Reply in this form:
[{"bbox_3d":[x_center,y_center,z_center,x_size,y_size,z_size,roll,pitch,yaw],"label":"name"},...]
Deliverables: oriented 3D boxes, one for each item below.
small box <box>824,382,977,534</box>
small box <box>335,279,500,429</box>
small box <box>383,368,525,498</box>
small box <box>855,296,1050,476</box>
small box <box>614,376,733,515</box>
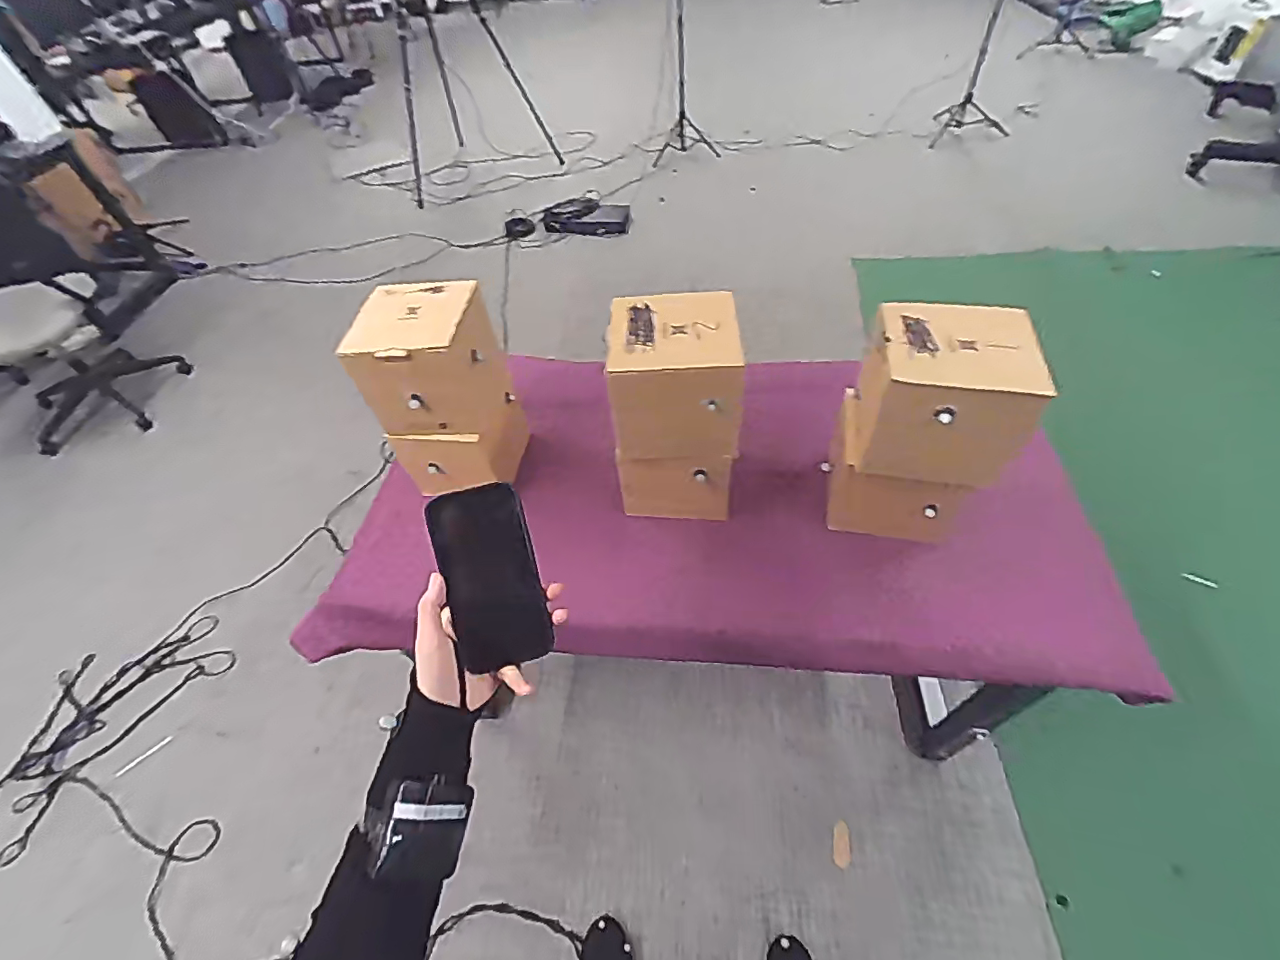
[{"bbox_3d":[0.398,-0.031,0.852,0.179,0.176,0.168,7,52,13],"label":"small box"},{"bbox_3d":[-0.336,-0.193,0.858,0.168,0.176,0.179,-1,52,5],"label":"small box"},{"bbox_3d":[-0.321,-0.083,0.979,0.168,0.176,0.179,2,51,9],"label":"small box"},{"bbox_3d":[0.389,-0.122,0.715,0.179,0.176,0.168,7,52,12],"label":"small box"},{"bbox_3d":[0.062,-0.055,0.909,0.179,0.176,0.168,2,51,9],"label":"small box"}]
